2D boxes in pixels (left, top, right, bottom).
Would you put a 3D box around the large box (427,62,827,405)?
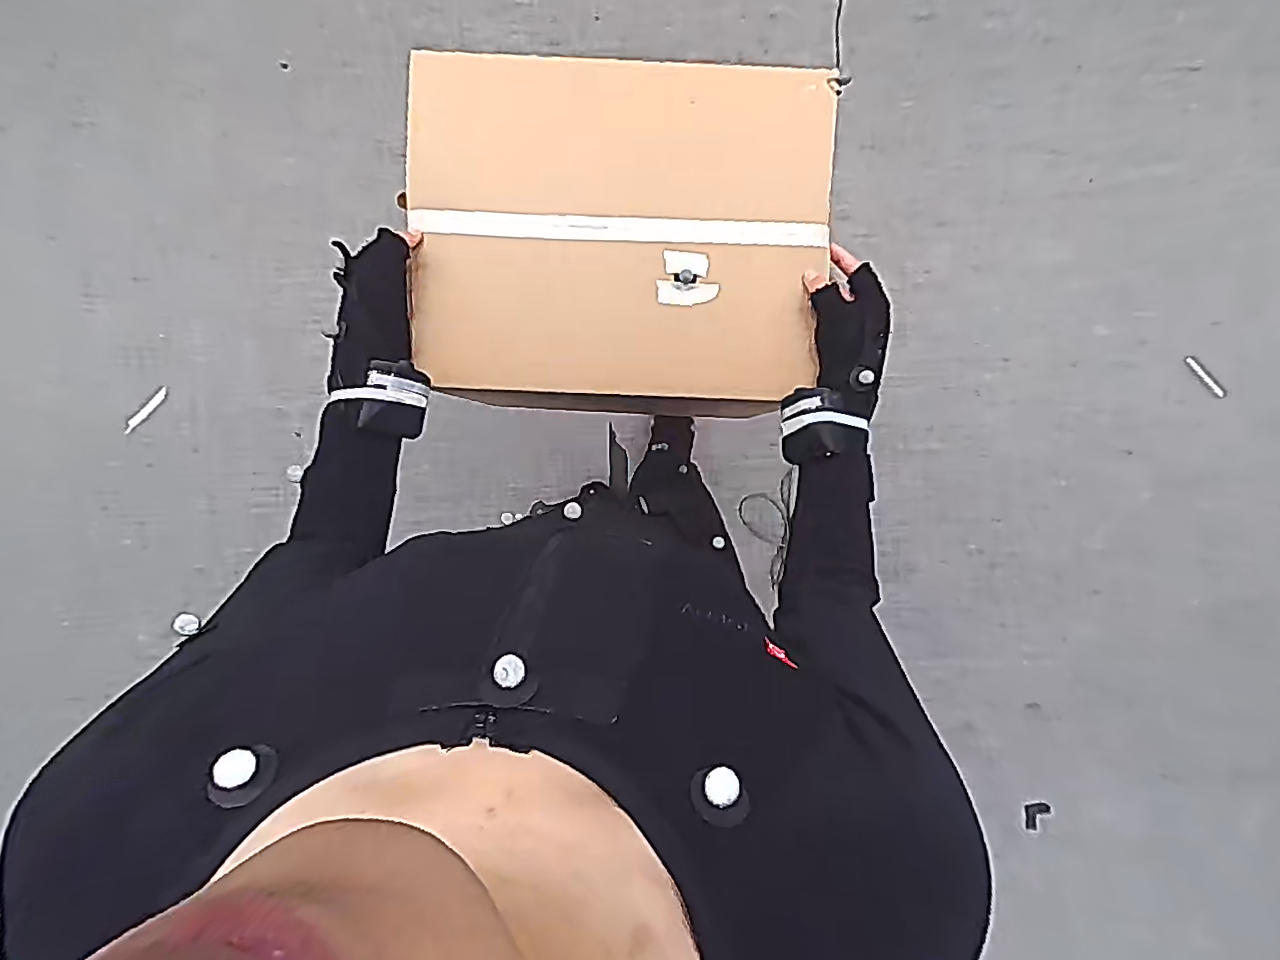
[{"bbox_3d":[-0.018,-0.264,0.691,0.408,0.320,0.320,2,95,-1],"label":"large box"}]
